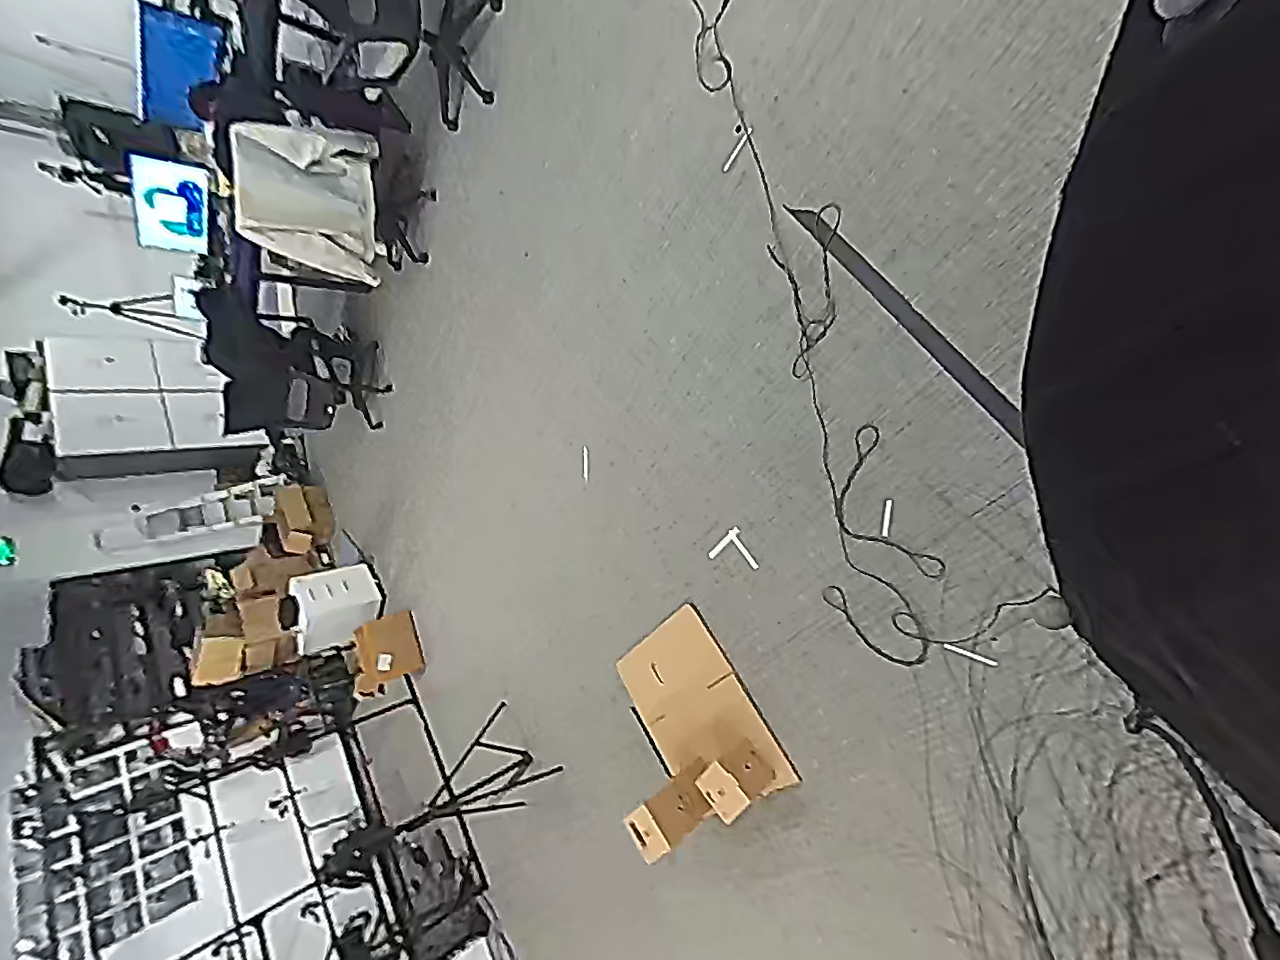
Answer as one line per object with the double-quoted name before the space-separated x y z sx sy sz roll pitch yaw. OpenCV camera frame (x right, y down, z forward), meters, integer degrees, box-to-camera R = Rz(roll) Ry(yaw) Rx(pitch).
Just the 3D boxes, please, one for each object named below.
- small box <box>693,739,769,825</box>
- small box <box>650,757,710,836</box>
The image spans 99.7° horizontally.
"small box" 0.321 1.043 1.880 0.168 0.176 0.179 46 125 30
"small box" 0.174 1.202 2.059 0.168 0.176 0.179 49 128 27
